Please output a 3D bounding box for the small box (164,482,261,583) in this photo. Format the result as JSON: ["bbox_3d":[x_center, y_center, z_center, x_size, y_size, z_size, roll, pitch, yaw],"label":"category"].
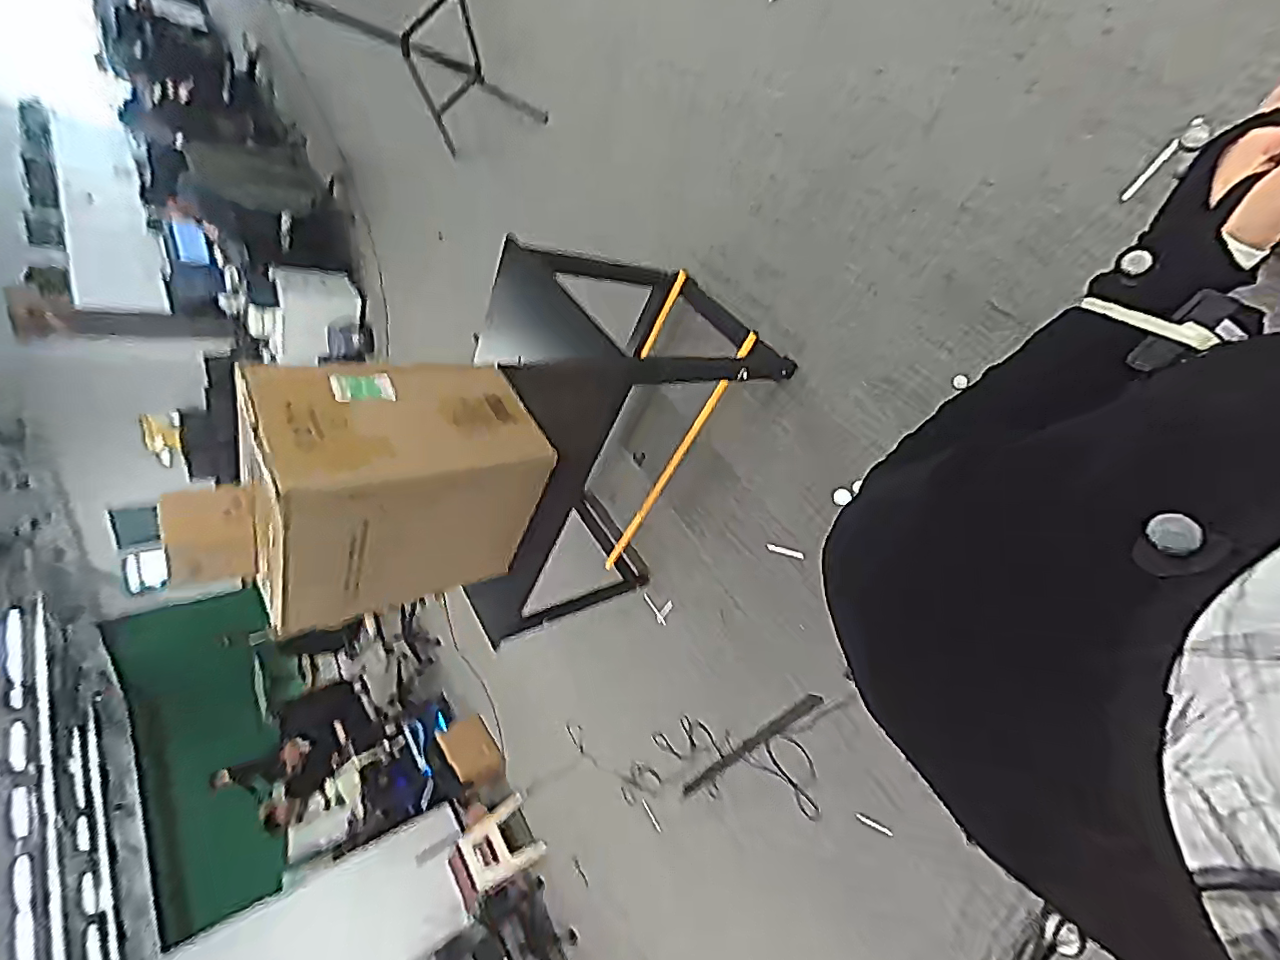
[{"bbox_3d":[-1.037,0.123,1.319,0.168,0.176,0.179,55,132,28],"label":"small box"}]
